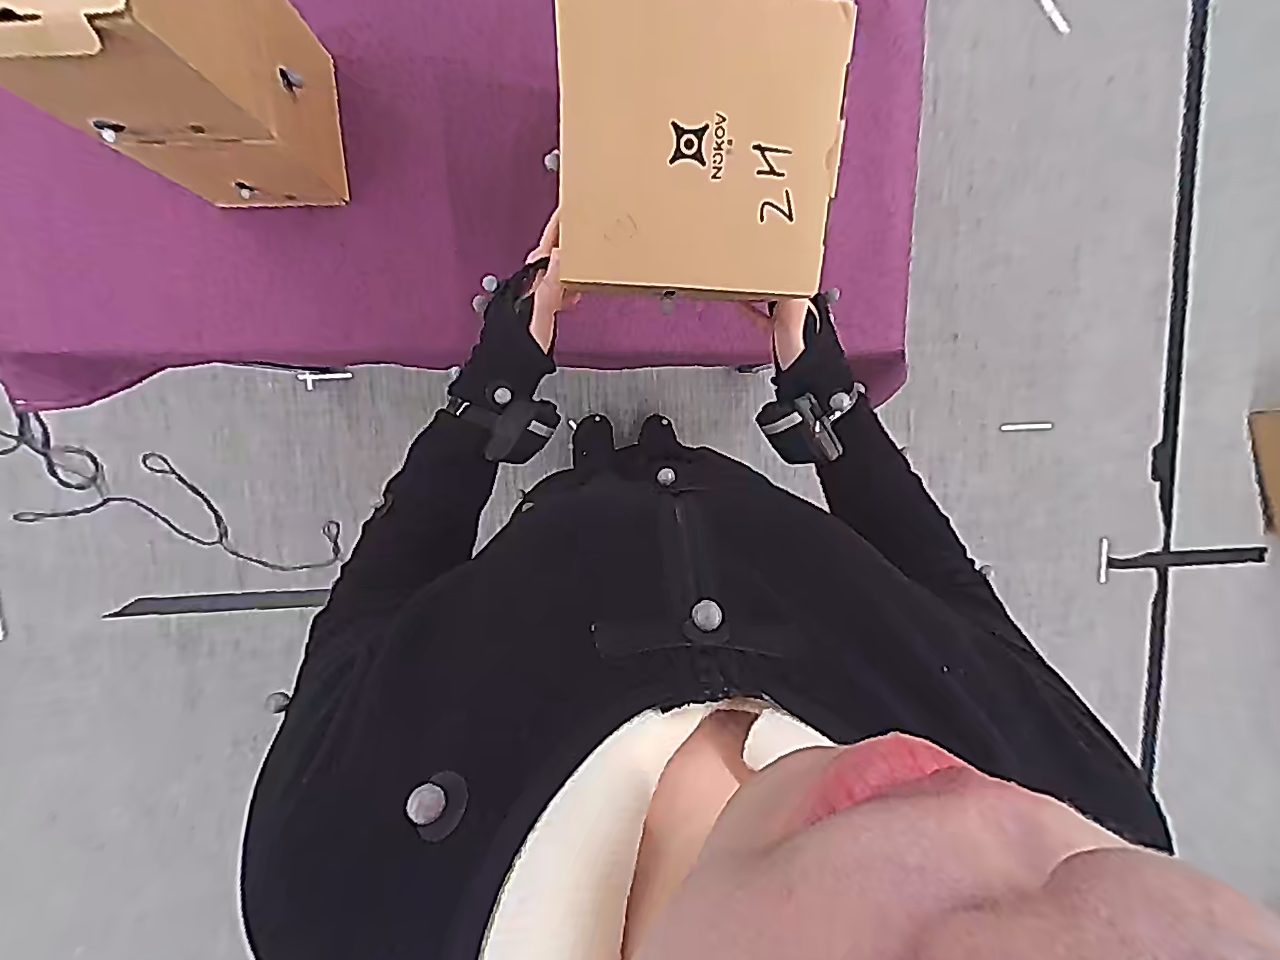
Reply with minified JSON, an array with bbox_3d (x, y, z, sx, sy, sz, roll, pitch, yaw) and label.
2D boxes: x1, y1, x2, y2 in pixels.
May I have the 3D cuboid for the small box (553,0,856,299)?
[{"bbox_3d":[0.030,-0.230,0.407,0.179,0.176,0.168,2,107,-6],"label":"small box"}]

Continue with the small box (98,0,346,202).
[{"bbox_3d":[-0.455,-0.433,0.602,0.168,0.176,0.179,-3,99,-4],"label":"small box"}]

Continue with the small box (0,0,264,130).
[{"bbox_3d":[-0.444,-0.412,0.440,0.168,0.176,0.179,-5,98,-4],"label":"small box"}]
